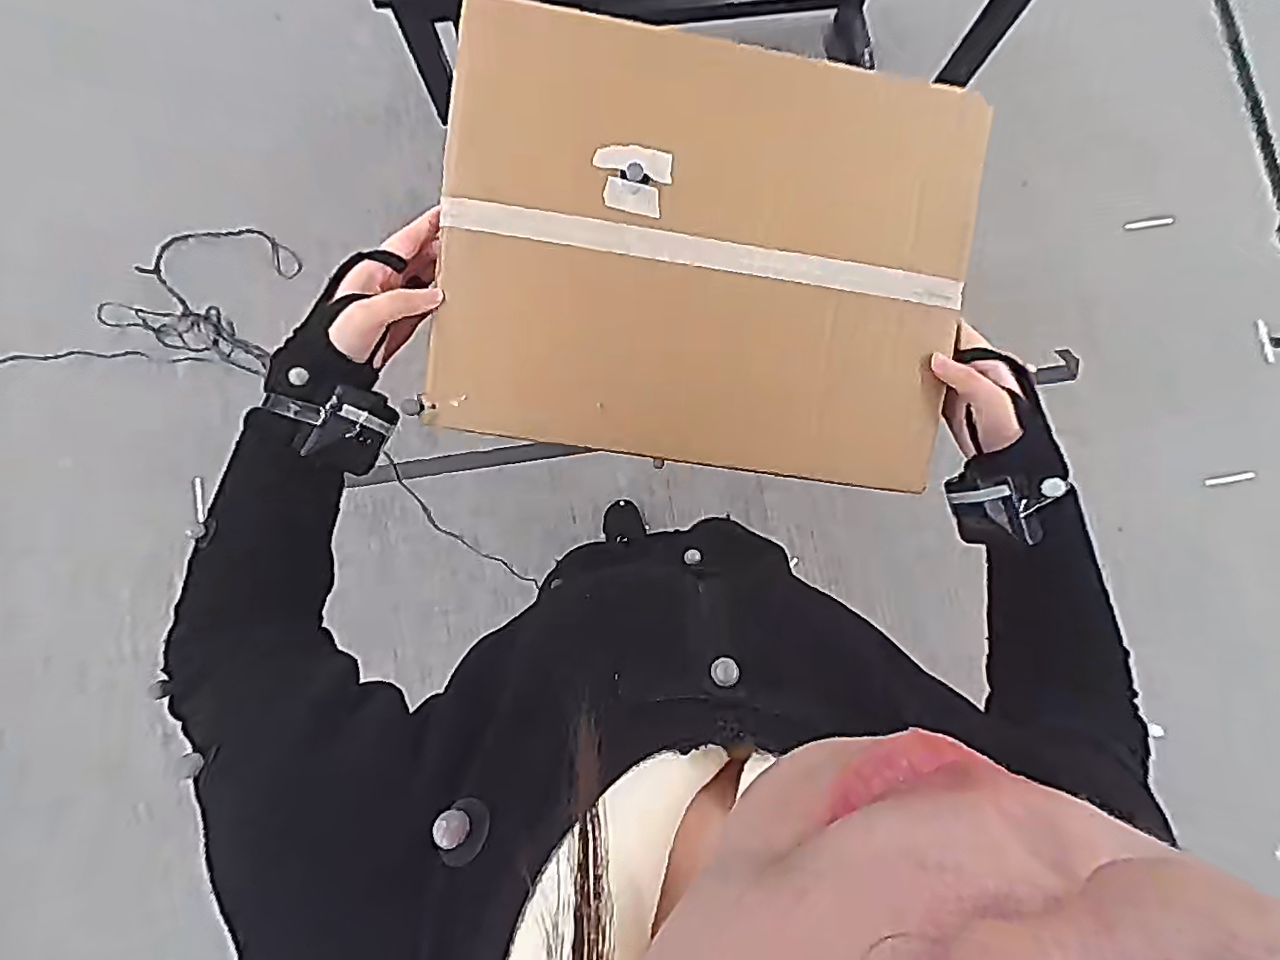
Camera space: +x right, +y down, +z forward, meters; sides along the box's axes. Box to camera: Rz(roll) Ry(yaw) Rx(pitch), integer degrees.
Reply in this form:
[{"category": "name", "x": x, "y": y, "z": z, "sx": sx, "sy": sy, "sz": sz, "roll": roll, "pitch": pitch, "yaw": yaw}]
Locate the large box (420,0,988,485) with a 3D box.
[{"category": "large box", "x": 0.042, "y": -0.183, "z": 0.555, "sx": 0.408, "sy": 0.320, "sz": 0.320, "roll": 8, "pitch": 94, "yaw": -4}]
